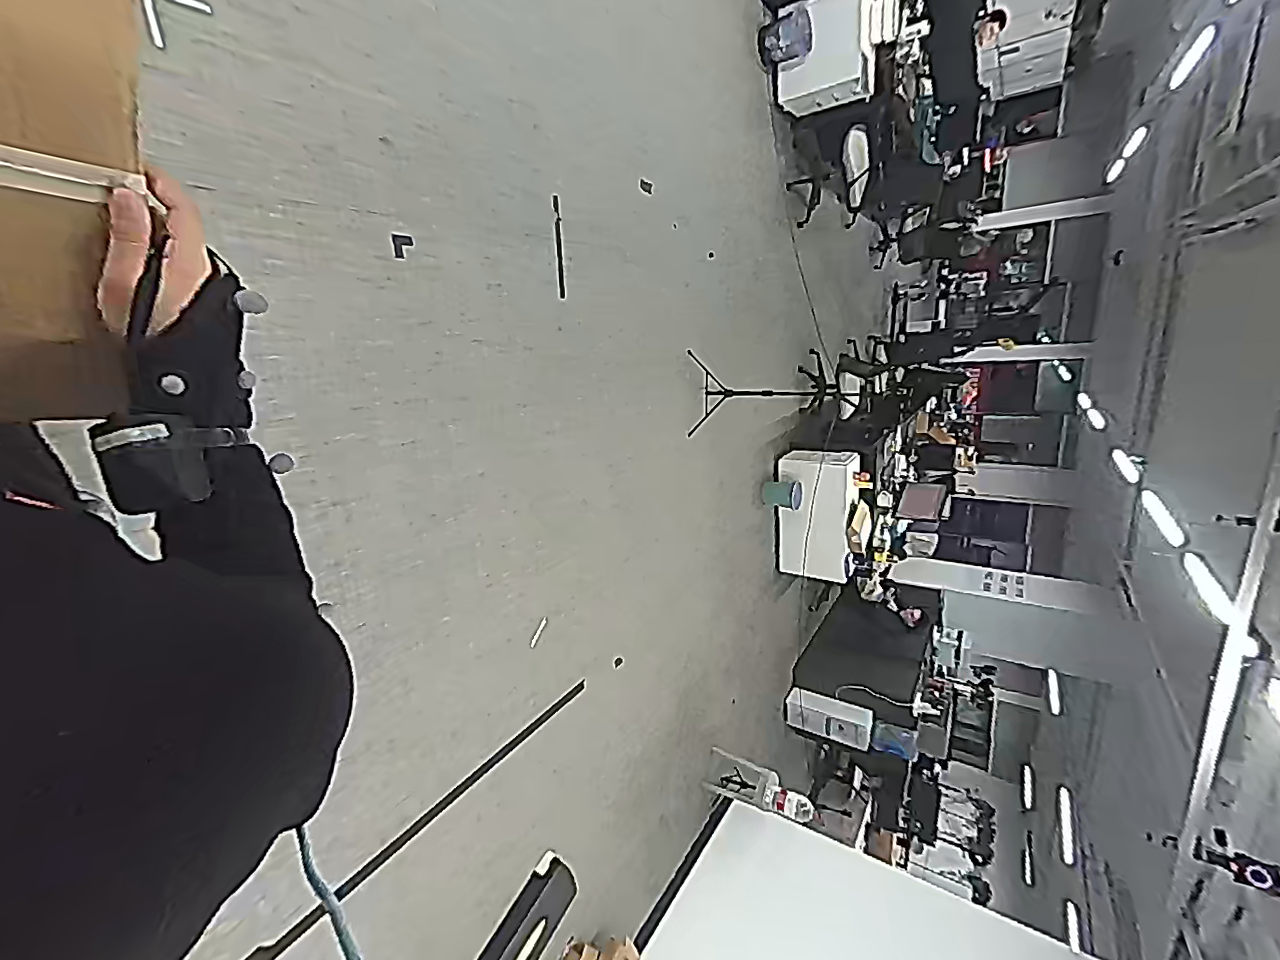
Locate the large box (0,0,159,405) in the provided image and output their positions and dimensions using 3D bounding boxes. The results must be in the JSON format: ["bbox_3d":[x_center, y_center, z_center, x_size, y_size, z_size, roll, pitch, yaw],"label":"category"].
[{"bbox_3d":[-0.549,-0.237,0.270,0.408,0.320,0.320,-12,132,-50],"label":"large box"}]
